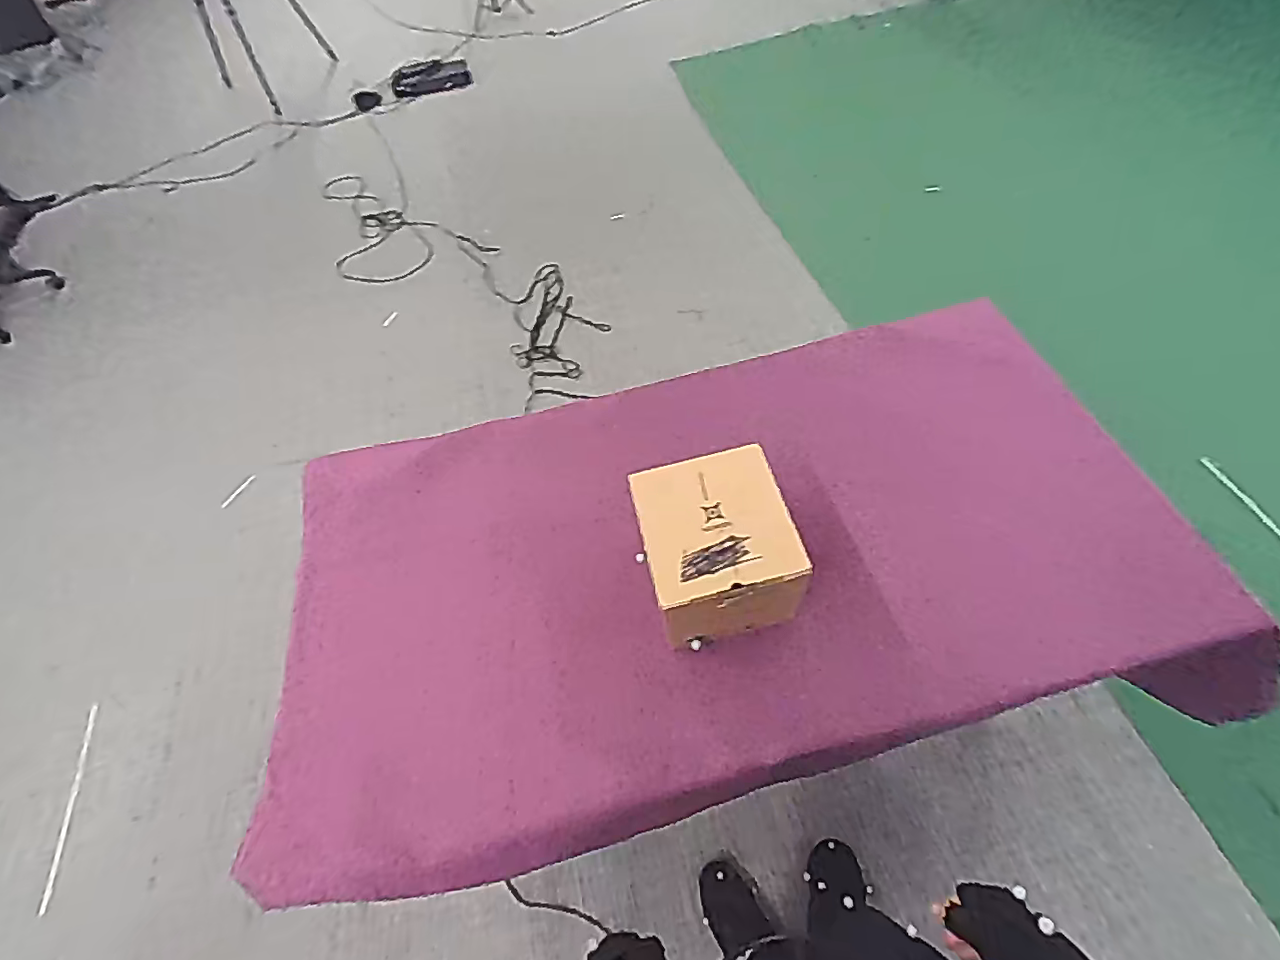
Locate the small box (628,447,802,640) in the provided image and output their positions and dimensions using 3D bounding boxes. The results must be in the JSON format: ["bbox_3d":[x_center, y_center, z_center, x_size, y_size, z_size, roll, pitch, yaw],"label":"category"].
[{"bbox_3d":[0.090,0.090,0.687,0.168,0.176,0.179,-14,57,-1],"label":"small box"}]
